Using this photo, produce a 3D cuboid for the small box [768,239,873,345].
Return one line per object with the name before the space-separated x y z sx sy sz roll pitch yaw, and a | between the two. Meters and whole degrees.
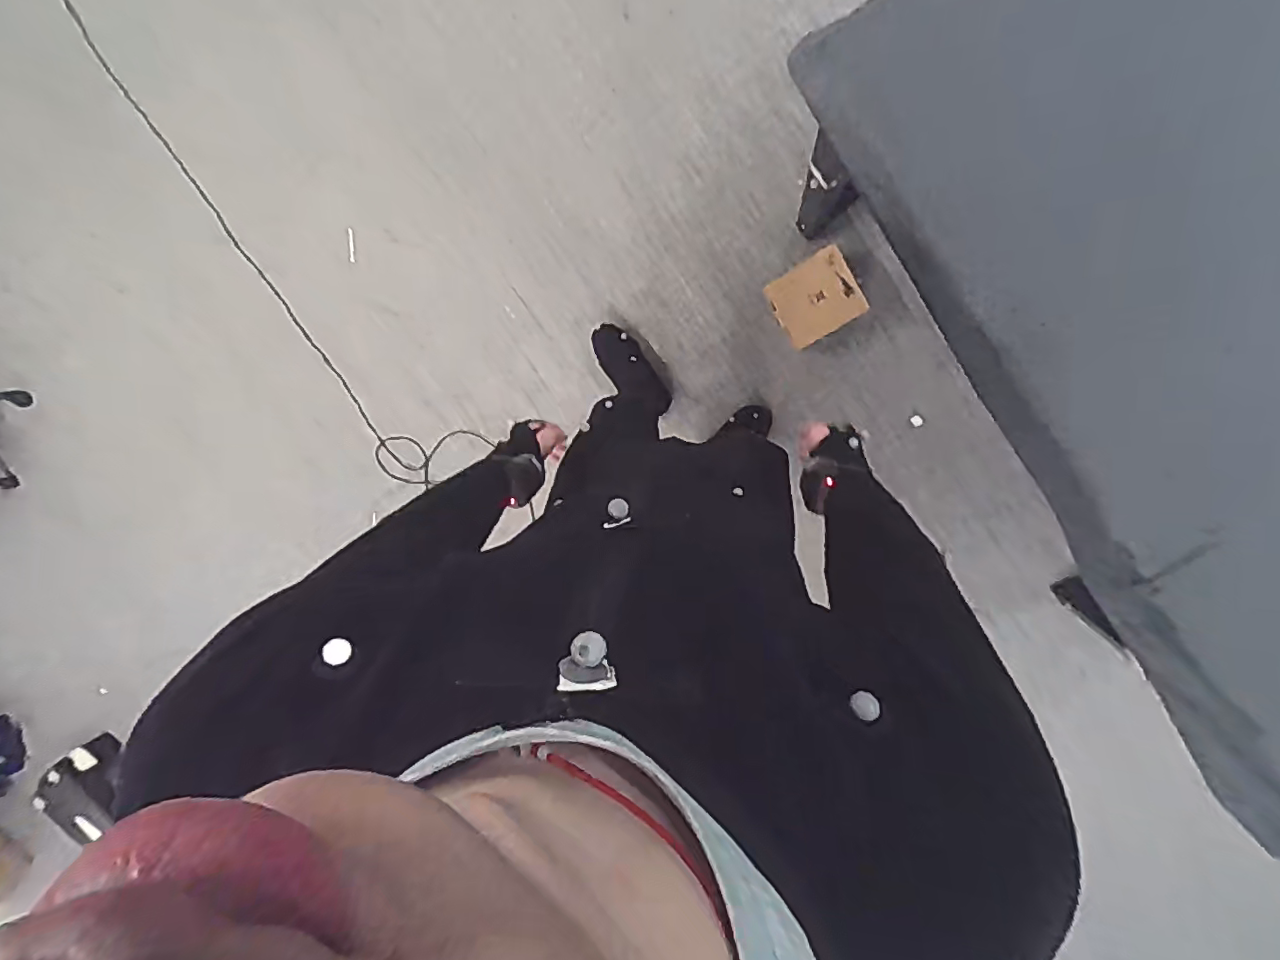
small box | 0.417 -0.429 1.271 0.179 0.176 0.168 -29 95 17
